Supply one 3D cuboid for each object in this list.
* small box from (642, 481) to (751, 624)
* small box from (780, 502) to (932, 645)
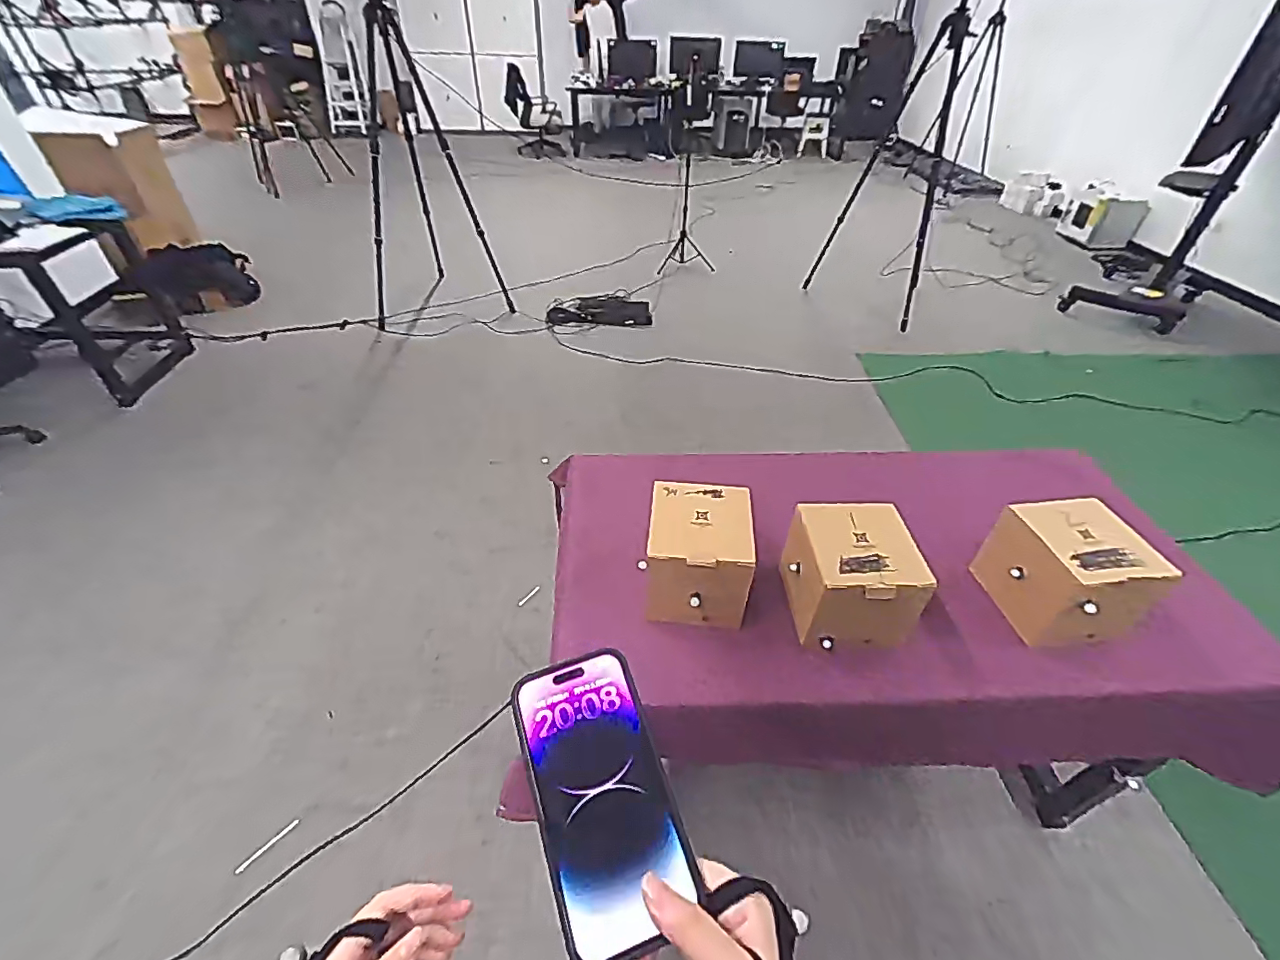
[{"bbox_3d":[0.094,0.125,0.923,0.168,0.176,0.179,4,42,4],"label":"small box"},{"bbox_3d":[0.340,0.156,0.892,0.168,0.176,0.179,0,40,-2],"label":"small box"}]
